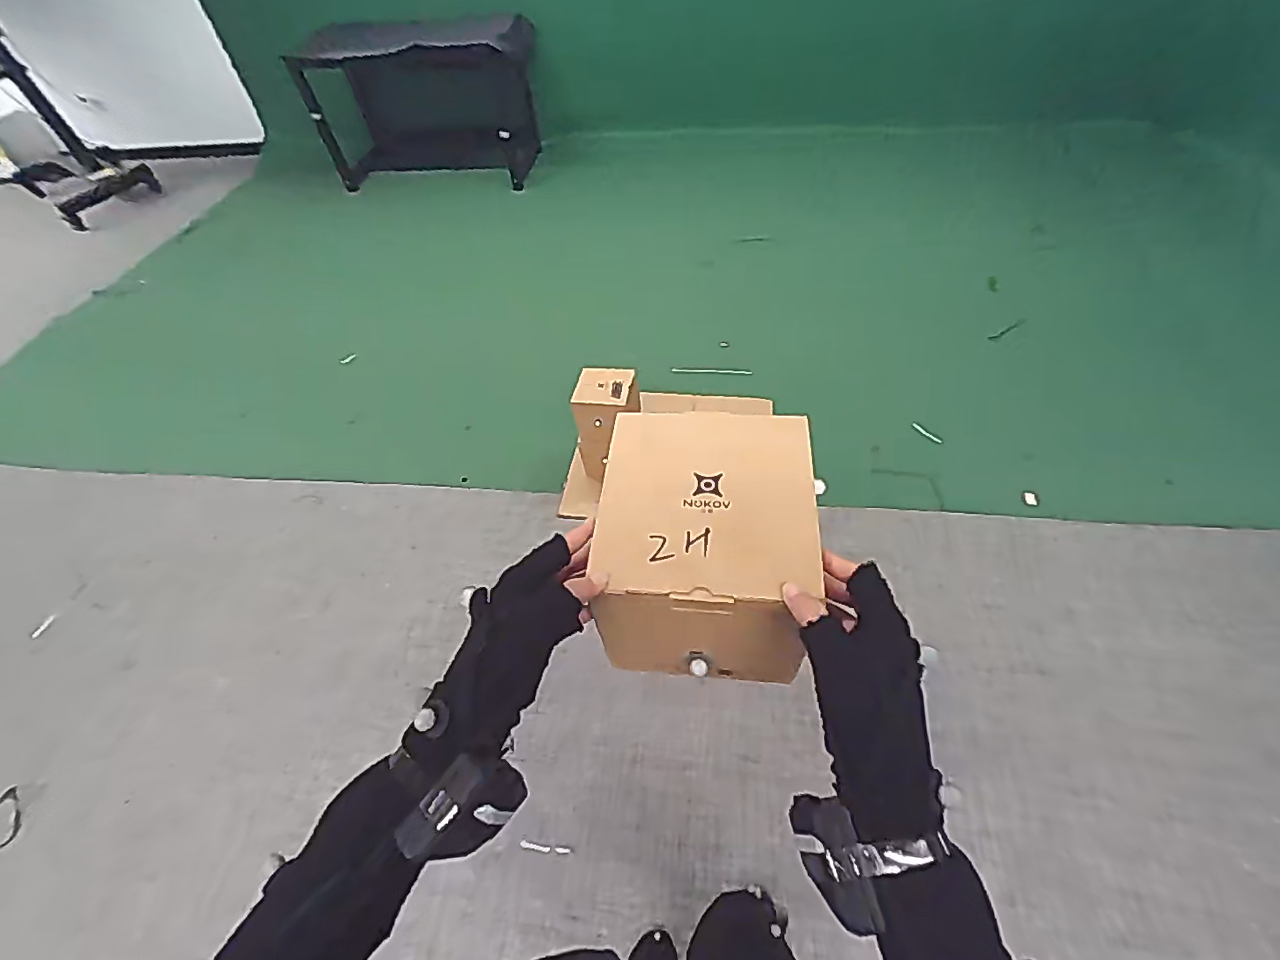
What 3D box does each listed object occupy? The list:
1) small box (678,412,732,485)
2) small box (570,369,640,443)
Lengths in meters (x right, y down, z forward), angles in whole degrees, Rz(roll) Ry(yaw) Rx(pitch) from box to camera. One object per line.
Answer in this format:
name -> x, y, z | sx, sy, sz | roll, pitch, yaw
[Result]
small box -> 0.216, -0.104, 1.804 | 0.168, 0.176, 0.179 | 3, 52, 8
small box -> -0.104, -0.234, 1.724 | 0.179, 0.176, 0.168 | 5, 52, 12
